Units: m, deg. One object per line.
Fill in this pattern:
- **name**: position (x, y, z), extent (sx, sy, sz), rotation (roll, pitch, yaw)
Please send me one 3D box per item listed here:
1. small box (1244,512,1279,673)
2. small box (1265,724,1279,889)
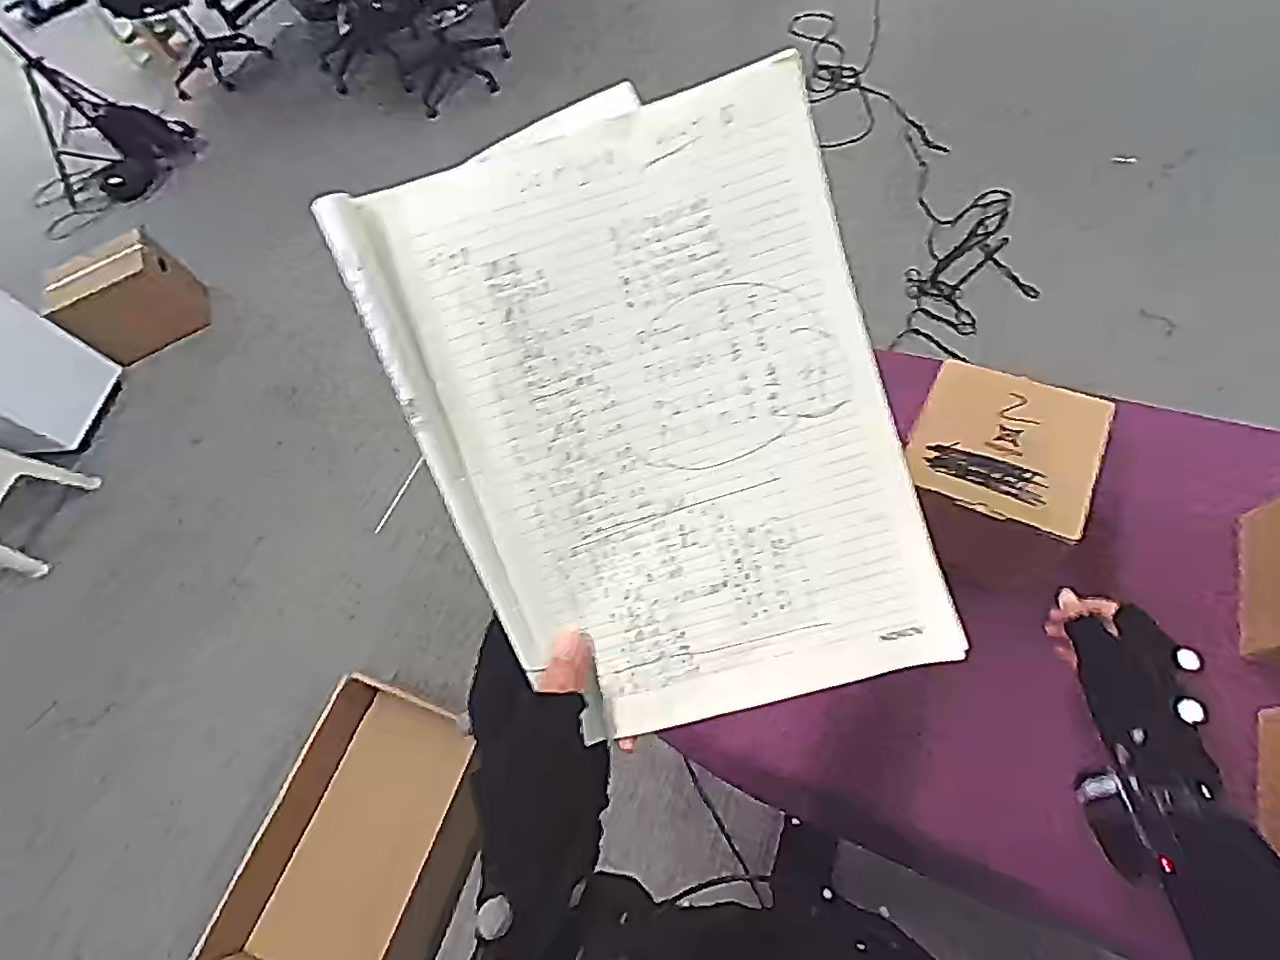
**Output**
- **small box**: position (0.727, 0.107, 0.502), extent (0.168, 0.176, 0.179), rotation (19, 68, 20)
- **small box**: position (0.653, 0.301, 0.417), extent (0.168, 0.176, 0.179), rotation (21, 69, 21)
